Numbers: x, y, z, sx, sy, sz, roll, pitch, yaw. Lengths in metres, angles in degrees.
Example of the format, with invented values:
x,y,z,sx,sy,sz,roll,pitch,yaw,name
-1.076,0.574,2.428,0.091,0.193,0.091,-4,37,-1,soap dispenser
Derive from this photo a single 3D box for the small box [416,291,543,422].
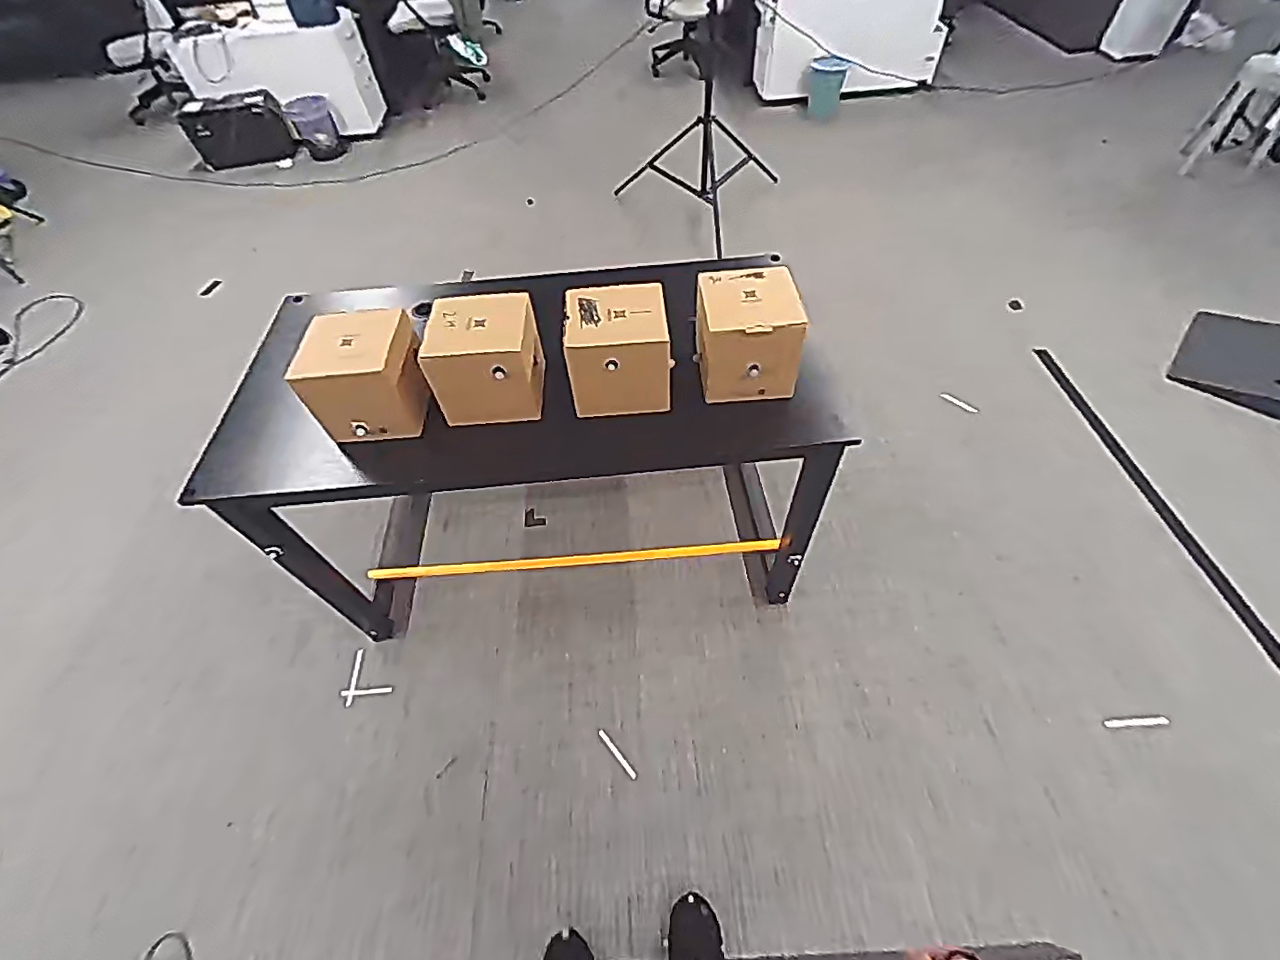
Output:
x,y,z,sx,sy,sz,roll,pitch,yaw,name
-0.281,-0.224,0.997,0.179,0.176,0.168,-4,53,1,small box

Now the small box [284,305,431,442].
x,y,z,sx,sy,sz,roll,pitch,yaw,name
-0.499,-0.192,0.990,0.168,0.176,0.179,-6,54,1,small box

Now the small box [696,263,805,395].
x,y,z,sx,sy,sz,roll,pitch,yaw,name
0.194,-0.271,0.999,0.168,0.176,0.179,-4,54,1,small box

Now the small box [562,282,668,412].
x,y,z,sx,sy,sz,roll,pitch,yaw,name
-0.041,-0.240,0.993,0.179,0.176,0.168,-4,53,0,small box
